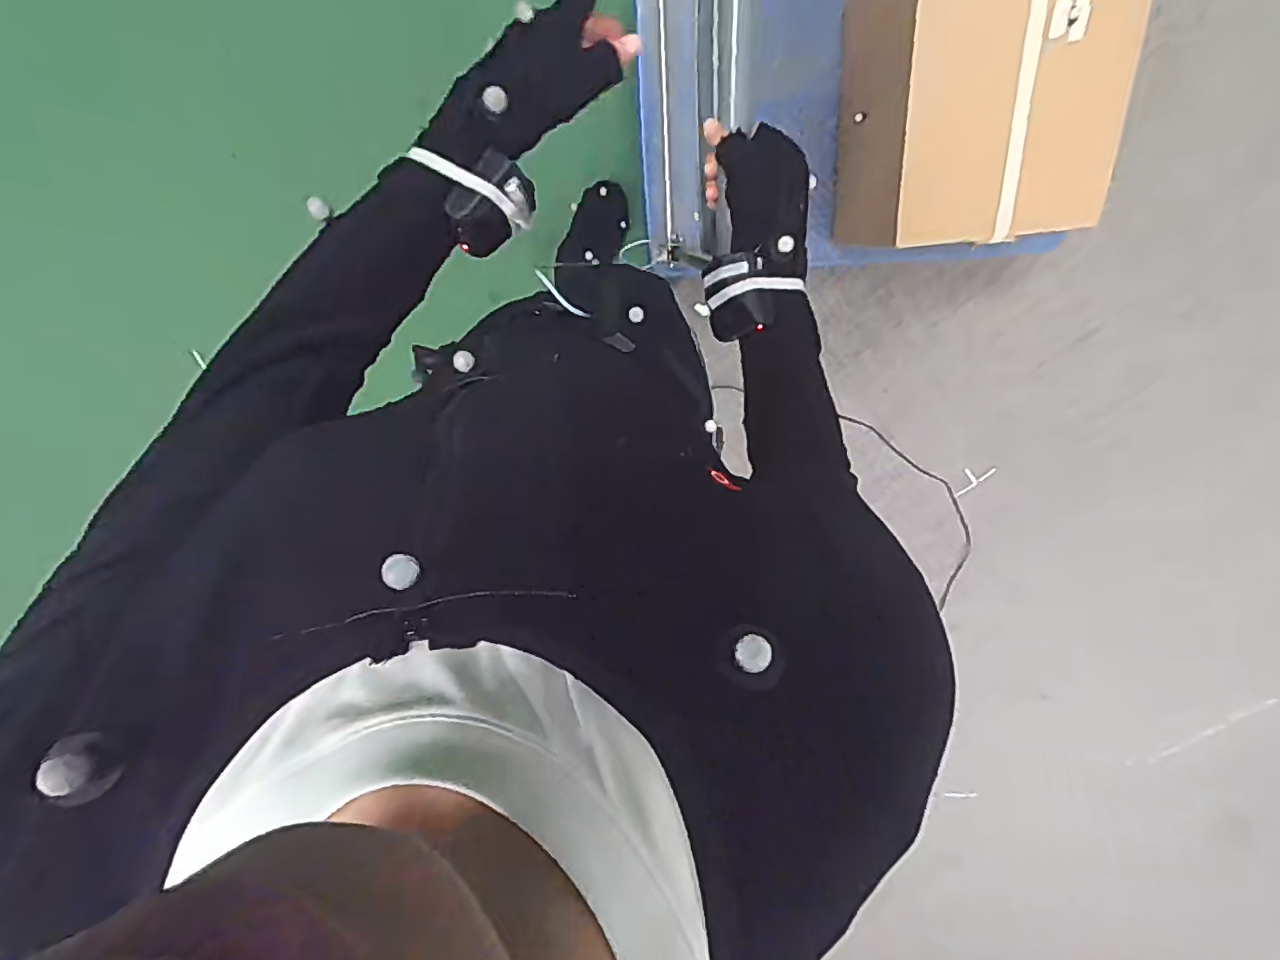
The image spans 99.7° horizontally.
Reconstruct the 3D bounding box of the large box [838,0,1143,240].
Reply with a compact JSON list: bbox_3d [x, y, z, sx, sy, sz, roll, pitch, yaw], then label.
[{"bbox_3d":[0.534,-0.634,0.897,0.320,0.320,0.408,-5,114,2],"label":"large box"}]
